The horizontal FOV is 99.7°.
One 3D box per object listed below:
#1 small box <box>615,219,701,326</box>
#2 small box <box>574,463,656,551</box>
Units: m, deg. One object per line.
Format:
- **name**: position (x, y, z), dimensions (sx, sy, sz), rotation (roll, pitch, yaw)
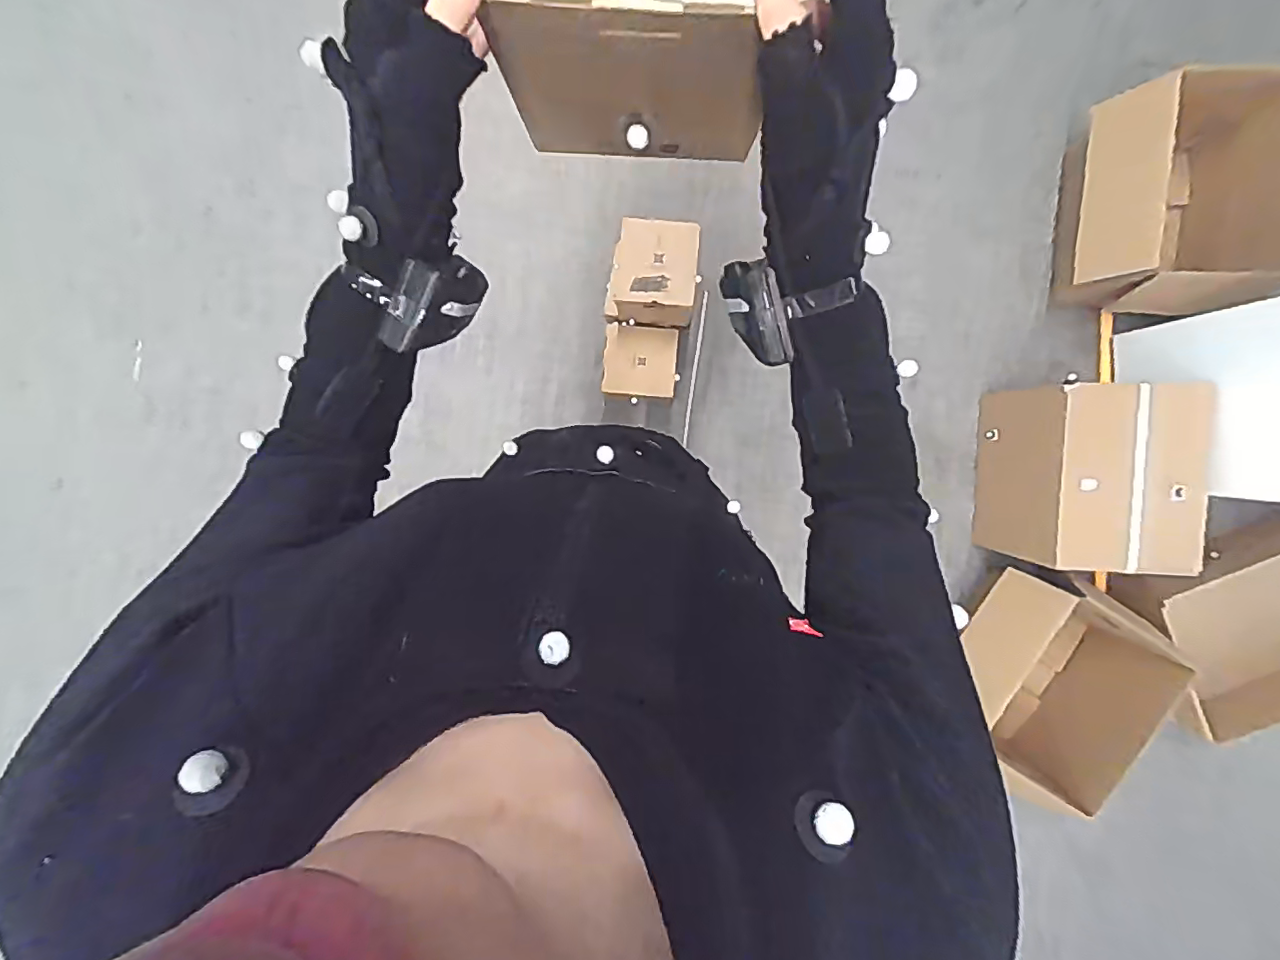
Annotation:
- **small box**: position (0.038, -0.451, 1.200), dimensions (0.168, 0.176, 0.179), rotation (5, 92, 0)
- **small box**: position (-0.072, 0.067, 1.427), dimensions (0.168, 0.176, 0.179), rotation (15, 96, -13)
